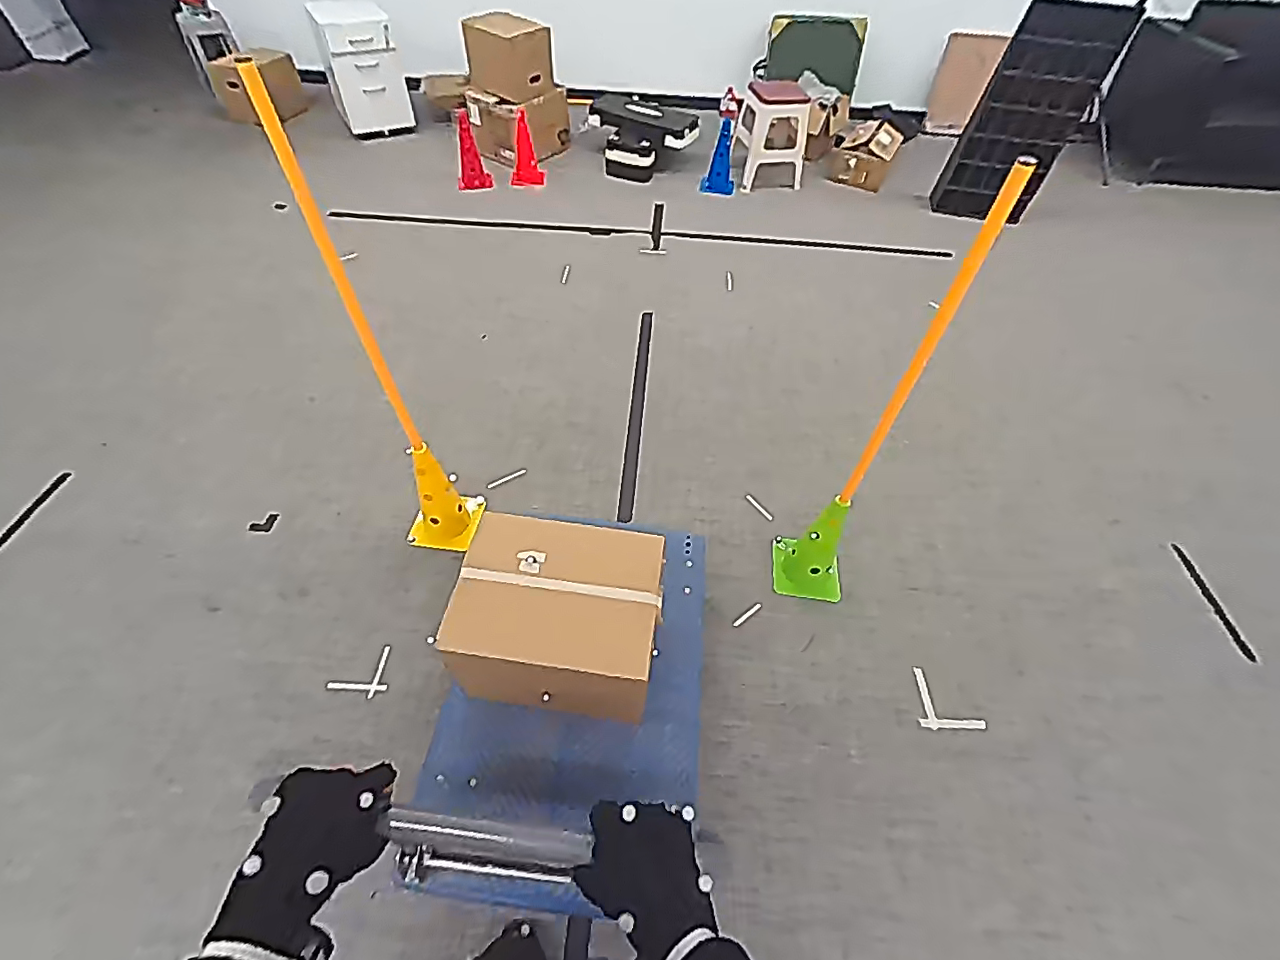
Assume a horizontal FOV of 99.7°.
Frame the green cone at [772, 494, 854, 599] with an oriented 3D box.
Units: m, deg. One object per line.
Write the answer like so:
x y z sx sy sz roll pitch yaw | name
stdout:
0.522 0.166 1.548 0.202 0.368 0.200 8 52 2 | green cone

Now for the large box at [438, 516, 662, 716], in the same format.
-0.169 0.312 1.215 0.408 0.320 0.320 7 52 4 | large box
